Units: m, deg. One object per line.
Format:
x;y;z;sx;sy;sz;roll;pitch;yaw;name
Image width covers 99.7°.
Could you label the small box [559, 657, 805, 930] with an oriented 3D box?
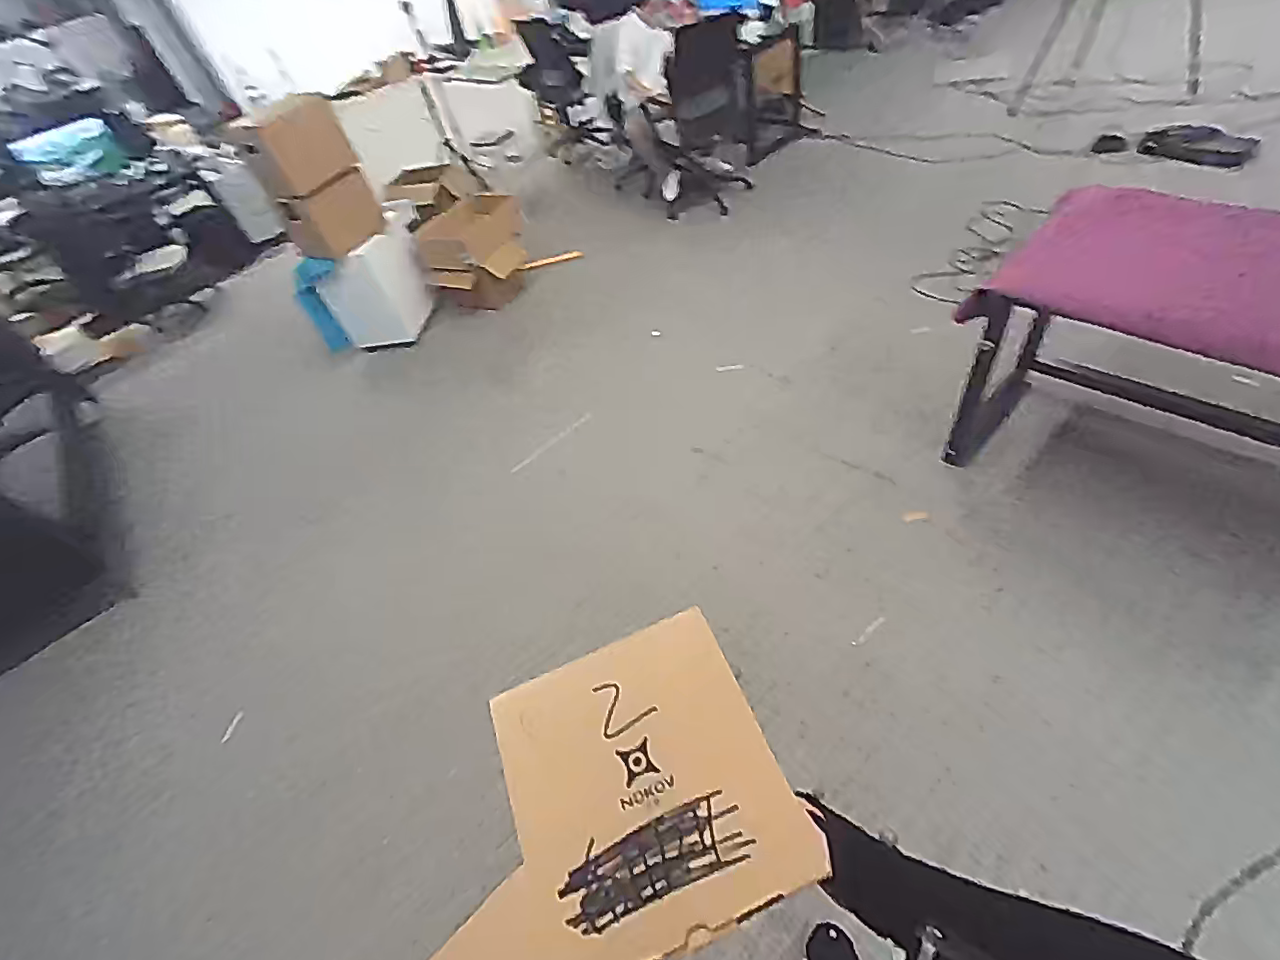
0.040;0.310;0.550;0.179;0.176;0.168;-24;56;-6;small box
